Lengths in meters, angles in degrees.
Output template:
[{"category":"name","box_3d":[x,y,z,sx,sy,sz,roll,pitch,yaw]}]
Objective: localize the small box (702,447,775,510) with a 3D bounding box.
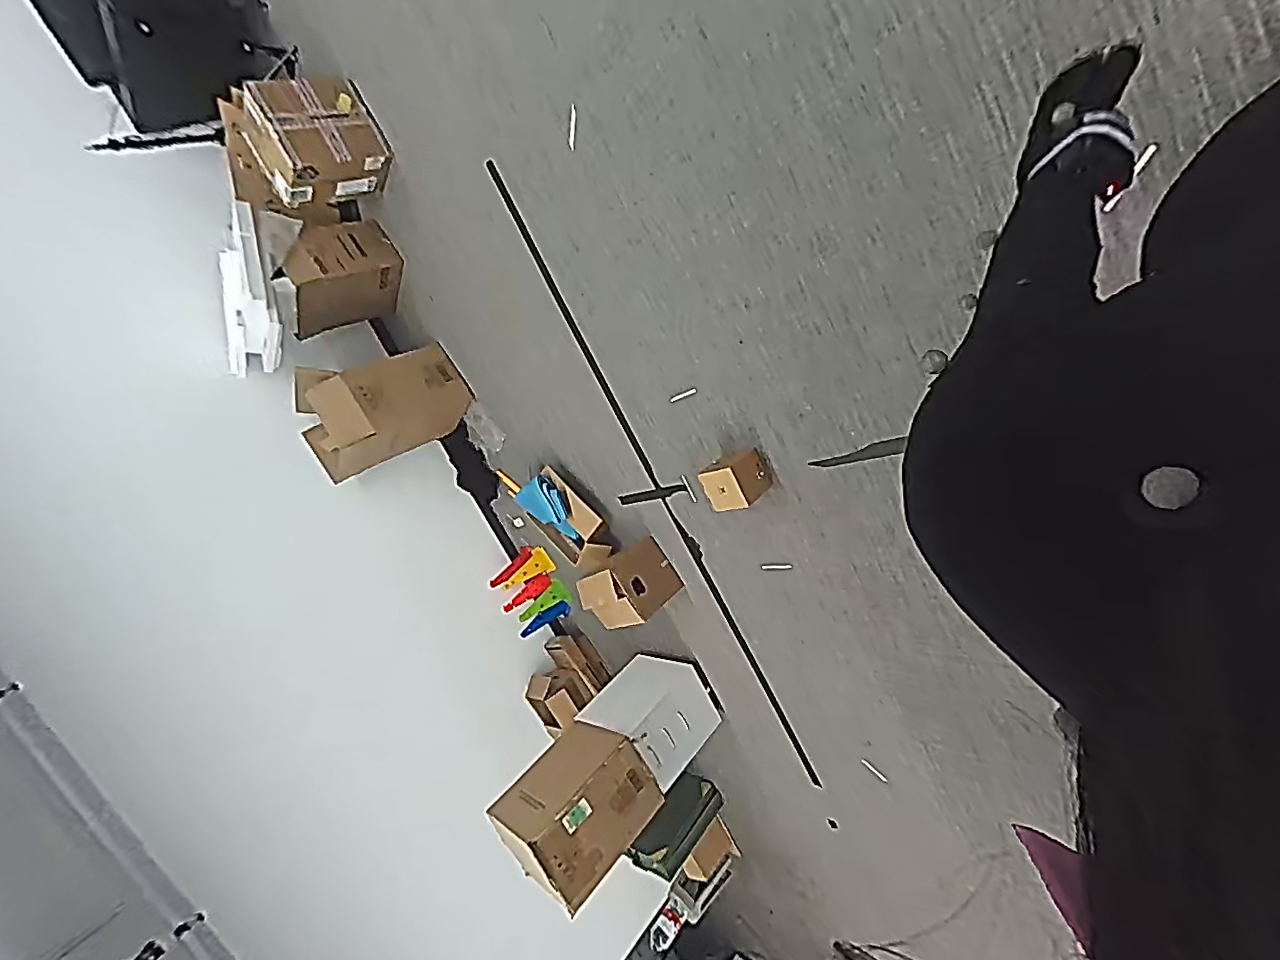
[{"category":"small box","box_3d":[0.371,-0.004,2.024,0.179,0.176,0.168,-16,106,52]}]
